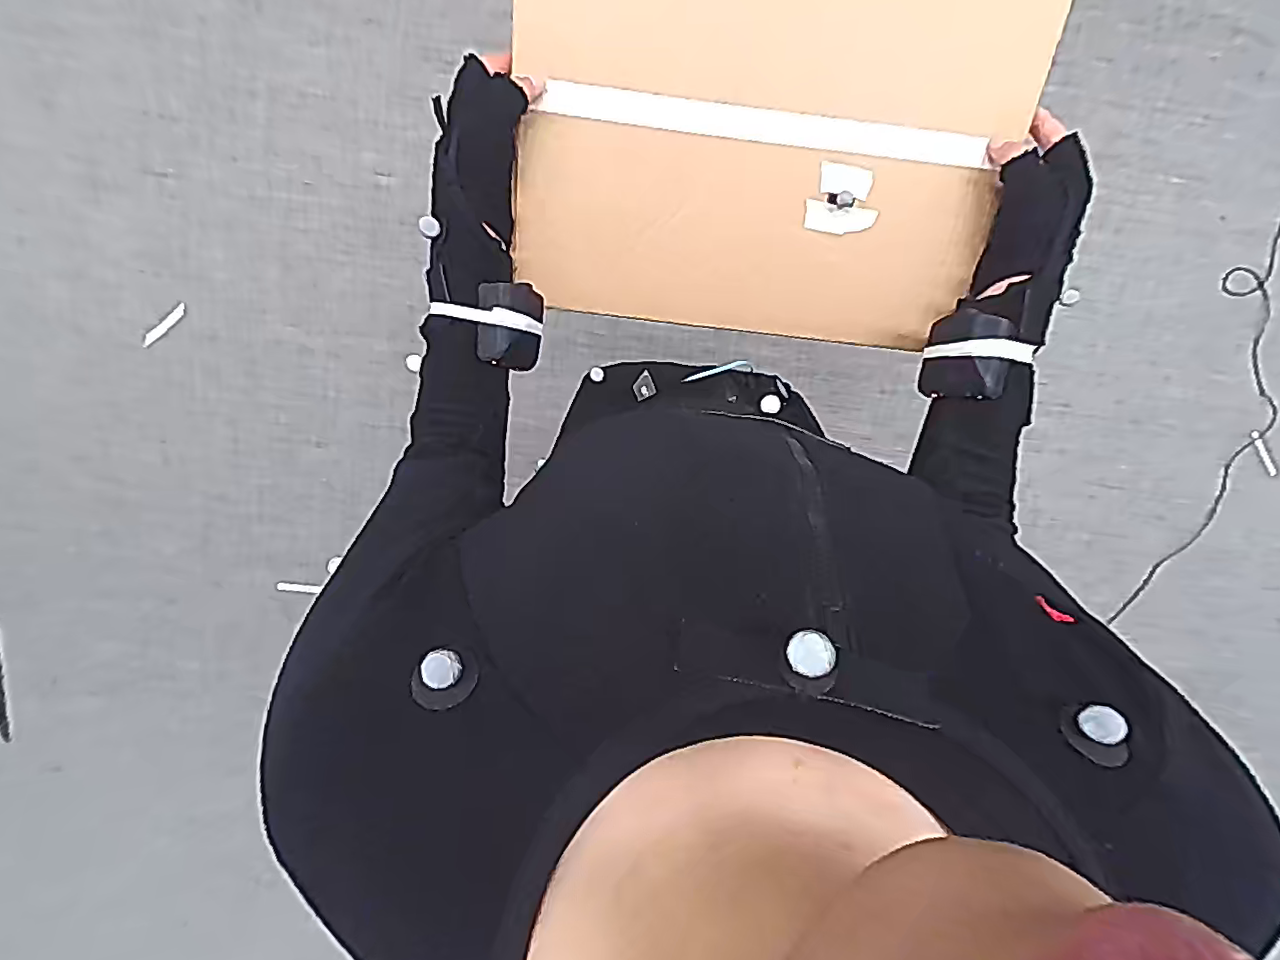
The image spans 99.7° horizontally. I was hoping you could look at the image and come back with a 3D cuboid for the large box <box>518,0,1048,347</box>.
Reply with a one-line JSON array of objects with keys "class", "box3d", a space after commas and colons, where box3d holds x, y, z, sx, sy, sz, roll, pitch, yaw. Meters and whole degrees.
[{"class": "large box", "box3d": [0.096, -0.338, 0.576, 0.408, 0.320, 0.320, 5, 114, -4]}]
